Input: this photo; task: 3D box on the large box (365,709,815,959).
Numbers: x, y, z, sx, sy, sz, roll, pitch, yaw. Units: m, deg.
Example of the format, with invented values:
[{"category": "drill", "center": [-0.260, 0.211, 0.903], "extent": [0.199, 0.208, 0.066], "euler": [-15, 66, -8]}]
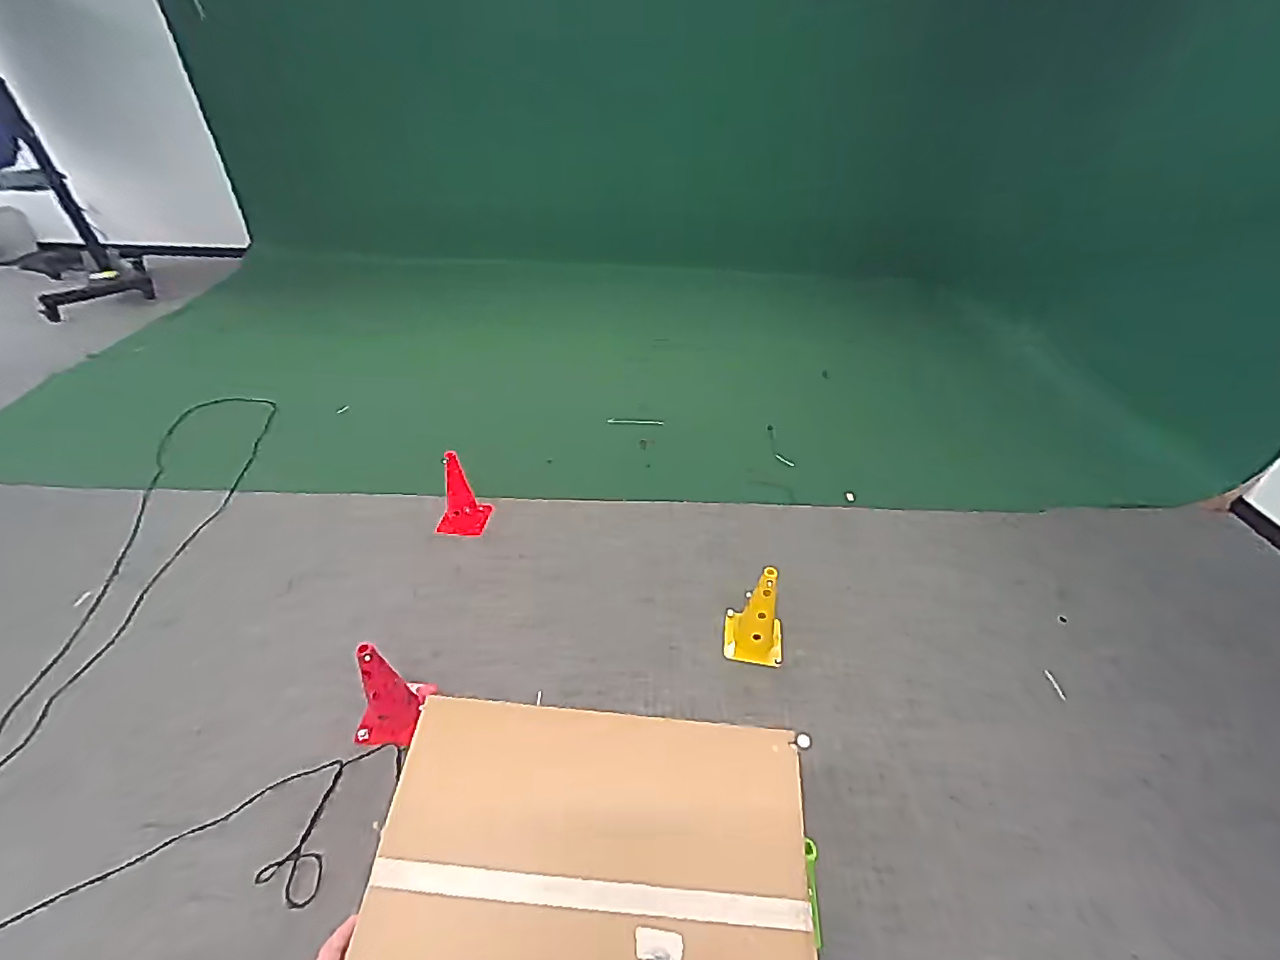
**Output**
[{"category": "large box", "center": [-0.046, 0.477, 0.620], "extent": [0.408, 0.320, 0.320], "euler": [5, 54, 1]}]

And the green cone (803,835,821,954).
[{"category": "green cone", "center": [0.349, 0.913, 1.244], "extent": [0.200, 0.368, 0.202], "euler": [6, 38, 3]}]

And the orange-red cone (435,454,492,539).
[{"category": "orange-red cone", "center": [-0.762, 0.047, 2.236], "extent": [0.199, 0.360, 0.198], "euler": [5, 39, 6]}]
